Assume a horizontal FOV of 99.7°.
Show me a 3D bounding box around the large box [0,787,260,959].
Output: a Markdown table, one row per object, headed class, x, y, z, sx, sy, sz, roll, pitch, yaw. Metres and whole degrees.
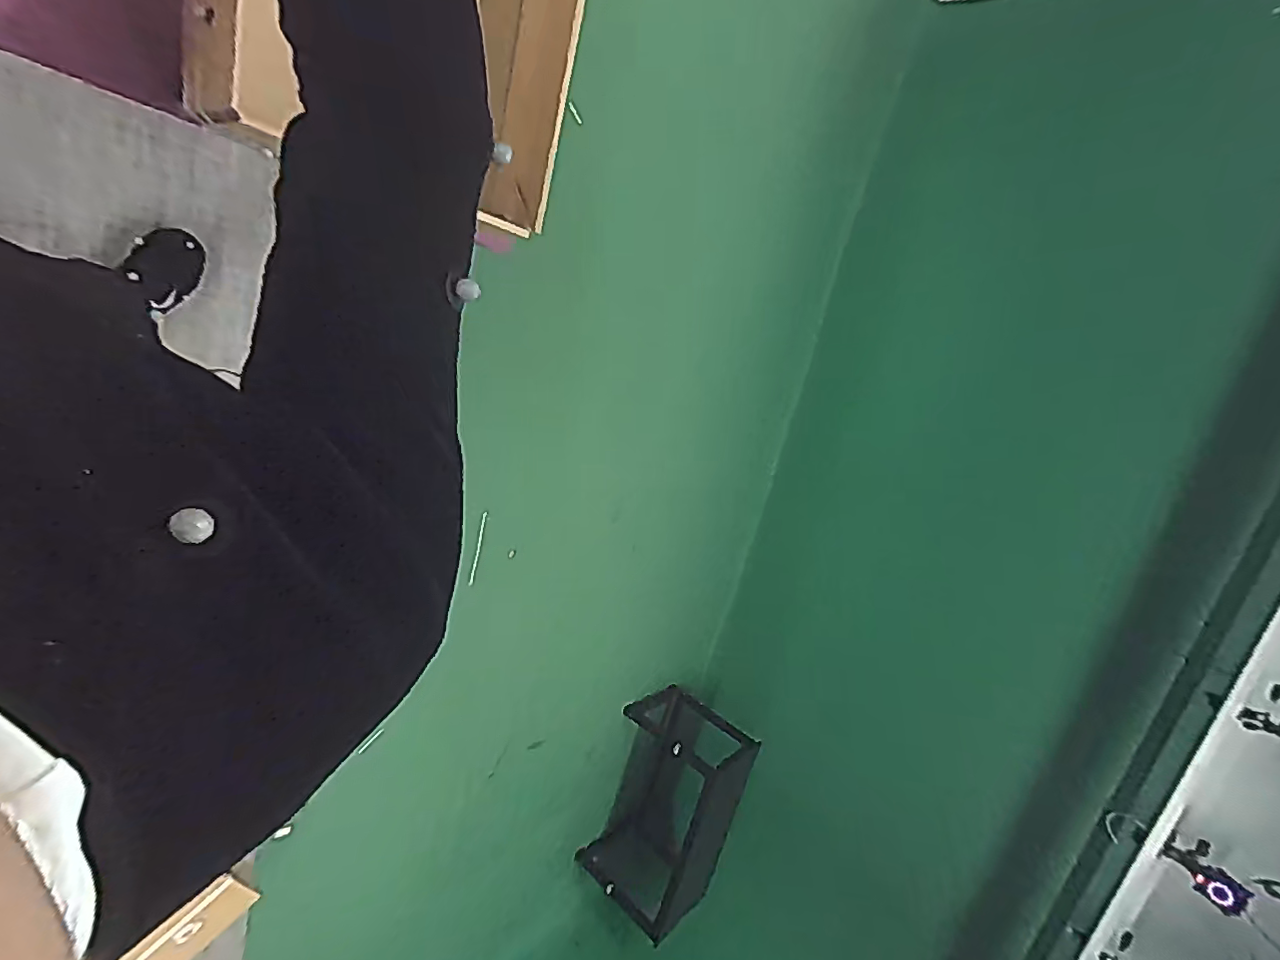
| class | x | y | z | sx | sy | sz | roll | pitch | yaw |
| --- | --- | --- | --- | --- | --- | --- | --- | --- | --- |
| large box | -1.358 | 1.148 | 1.454 | 0.408 | 0.320 | 0.320 | -40 | 137 | -33 |
